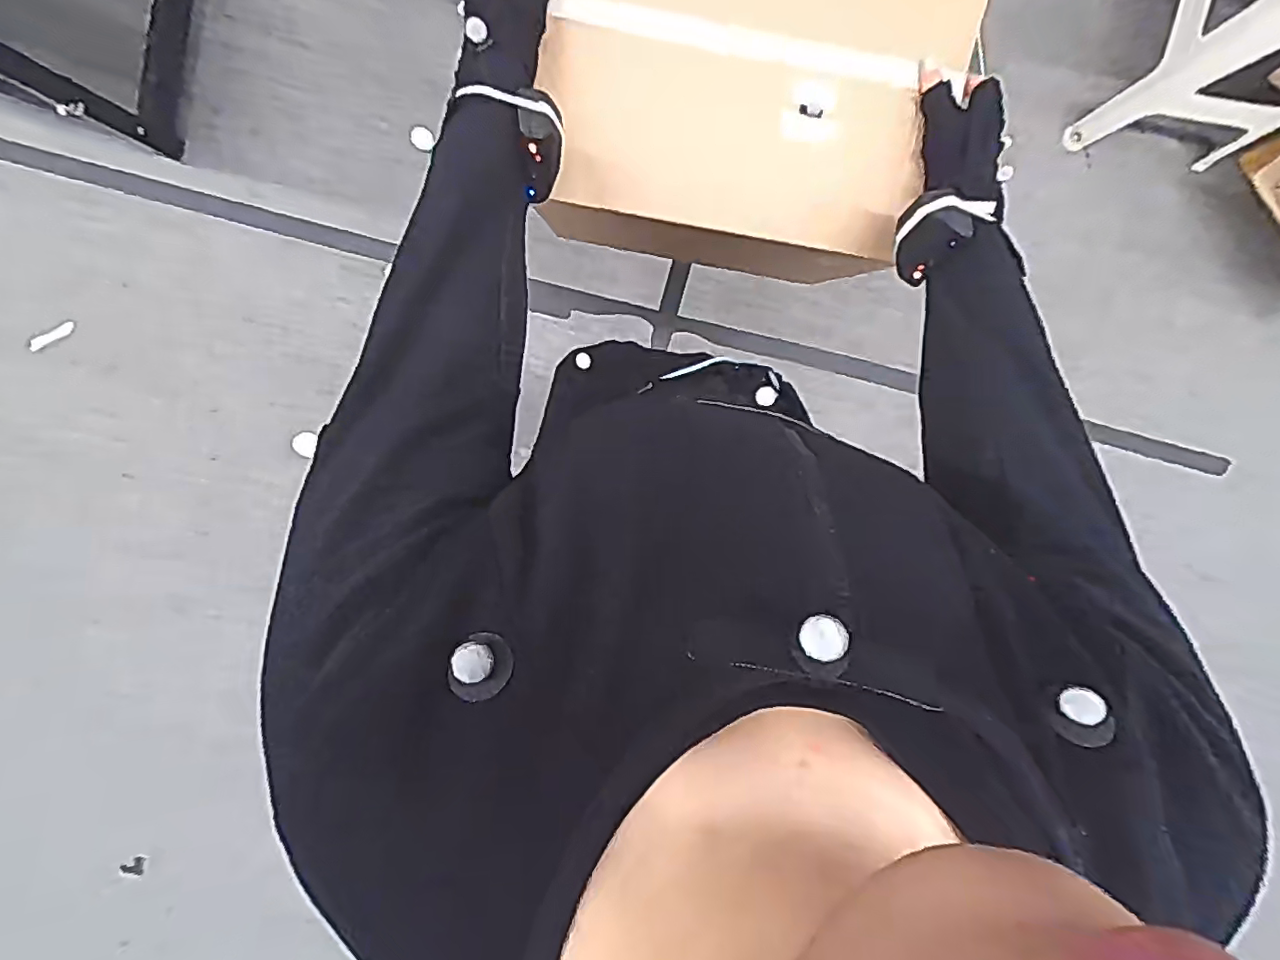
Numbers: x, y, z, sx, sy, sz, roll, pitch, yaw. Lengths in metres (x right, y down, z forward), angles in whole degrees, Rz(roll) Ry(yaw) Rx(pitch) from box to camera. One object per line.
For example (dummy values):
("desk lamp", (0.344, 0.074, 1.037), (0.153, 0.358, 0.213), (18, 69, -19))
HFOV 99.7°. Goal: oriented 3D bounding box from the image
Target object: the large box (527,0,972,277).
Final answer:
("large box", (0.096, -0.447, 0.655), (0.408, 0.320, 0.320), (8, 107, -5))
